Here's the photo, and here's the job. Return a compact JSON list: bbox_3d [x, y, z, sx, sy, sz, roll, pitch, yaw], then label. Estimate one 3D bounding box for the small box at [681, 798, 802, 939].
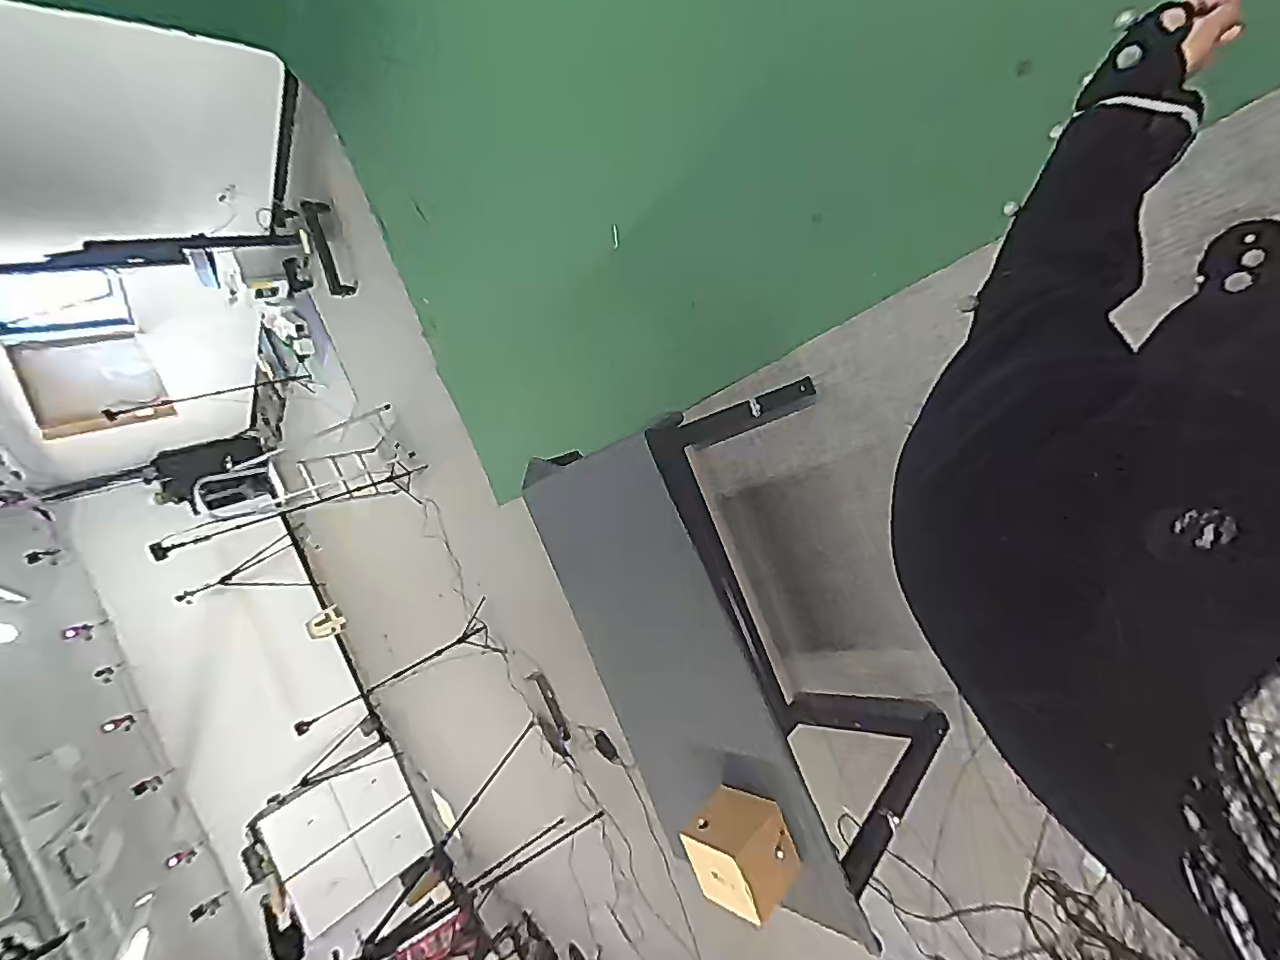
[{"bbox_3d":[0.228,0.853,1.211,0.179,0.176,0.168,-19,94,49],"label":"small box"}]
